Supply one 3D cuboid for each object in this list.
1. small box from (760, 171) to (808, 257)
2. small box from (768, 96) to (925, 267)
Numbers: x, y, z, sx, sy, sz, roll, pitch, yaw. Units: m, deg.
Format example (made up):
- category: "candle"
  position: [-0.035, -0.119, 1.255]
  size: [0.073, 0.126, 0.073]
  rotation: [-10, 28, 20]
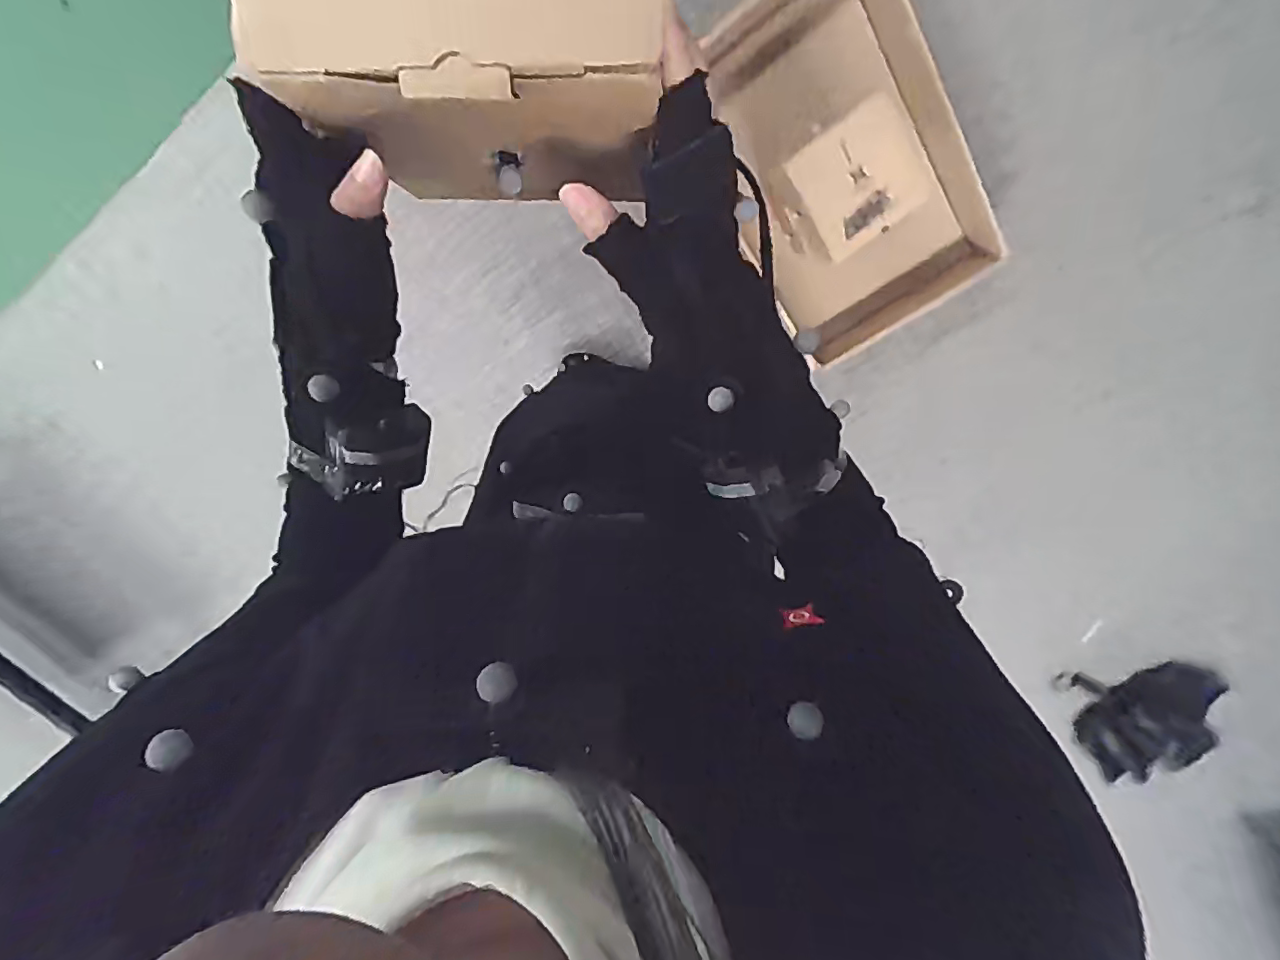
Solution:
- category: "small box"
  position: [0.343, -0.552, 1.037]
  size: [0.179, 0.176, 0.168]
  rotation: [-29, 110, 16]
- category: "small box"
  position: [0.329, -0.480, 0.890]
  size: [0.168, 0.176, 0.179]
  rotation: [-30, 109, 18]
